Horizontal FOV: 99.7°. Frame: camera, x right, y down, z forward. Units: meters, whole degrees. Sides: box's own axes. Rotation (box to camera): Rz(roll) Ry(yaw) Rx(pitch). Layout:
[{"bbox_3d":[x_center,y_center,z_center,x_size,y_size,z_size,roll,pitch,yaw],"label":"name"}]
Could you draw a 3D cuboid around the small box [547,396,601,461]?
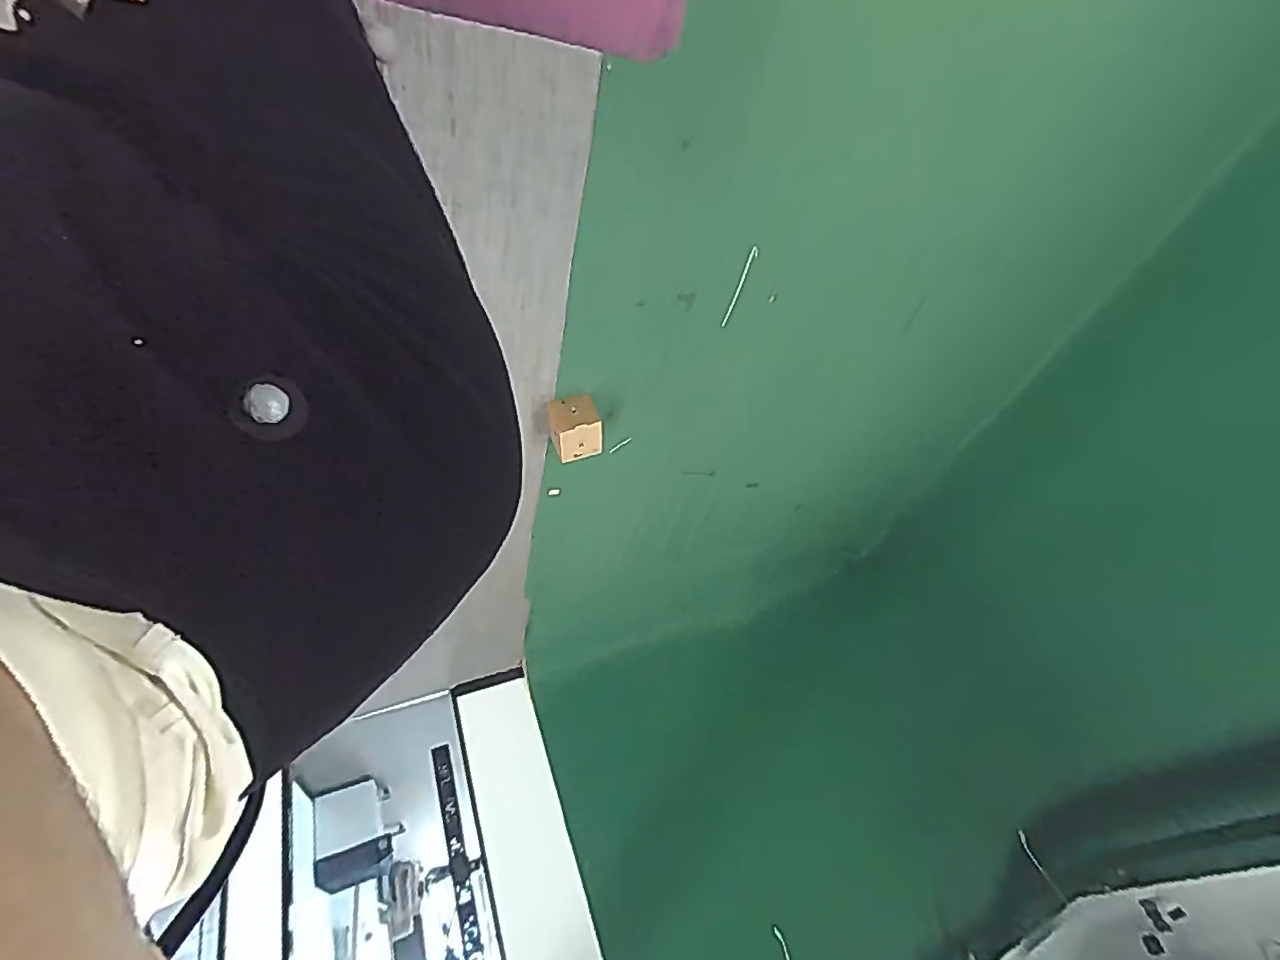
[{"bbox_3d":[-0.256,-0.205,2.081,0.168,0.176,0.179,-16,143,-16],"label":"small box"}]
